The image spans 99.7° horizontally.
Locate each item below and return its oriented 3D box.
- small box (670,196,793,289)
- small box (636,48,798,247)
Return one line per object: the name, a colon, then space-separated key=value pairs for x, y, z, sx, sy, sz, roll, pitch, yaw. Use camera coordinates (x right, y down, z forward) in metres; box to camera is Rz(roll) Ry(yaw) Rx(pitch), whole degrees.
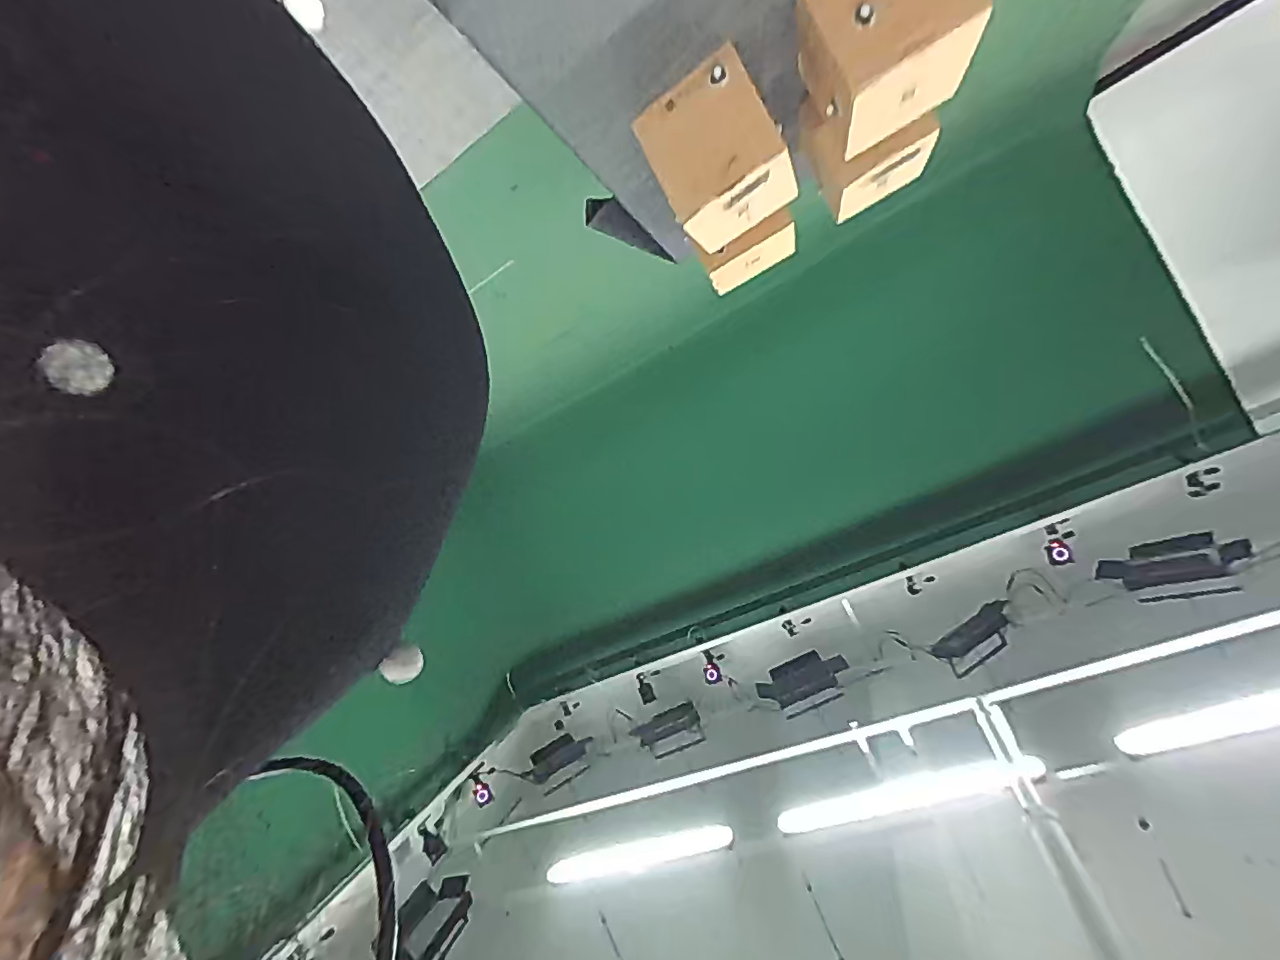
small box: x=0.183 y=-0.514 z=1.065 sx=0.179 sy=0.176 sz=0.168 roll=-27 pitch=178 yaw=16
small box: x=0.118 y=-0.491 z=0.812 sx=0.168 sy=0.176 sz=0.179 roll=-27 pitch=178 yaw=23
